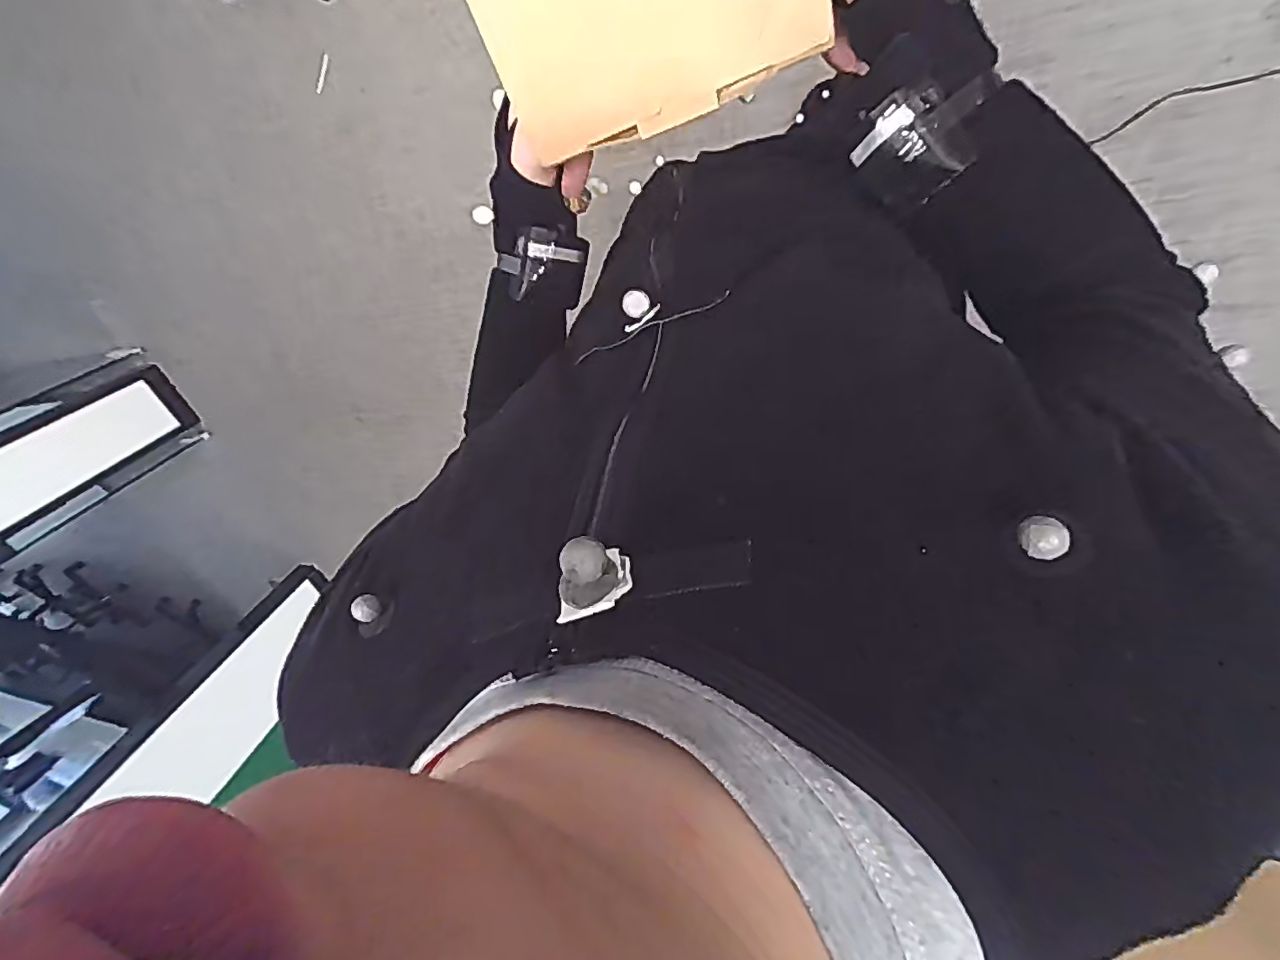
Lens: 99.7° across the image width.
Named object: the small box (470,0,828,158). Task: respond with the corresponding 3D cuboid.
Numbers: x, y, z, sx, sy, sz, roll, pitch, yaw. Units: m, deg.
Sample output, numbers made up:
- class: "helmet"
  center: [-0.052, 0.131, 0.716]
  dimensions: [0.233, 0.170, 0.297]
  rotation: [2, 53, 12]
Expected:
- class: "small box"
  center: [-0.001, -0.313, 0.292]
  dimensions: [0.168, 0.176, 0.179]
  rotation: [-11, 127, 20]
